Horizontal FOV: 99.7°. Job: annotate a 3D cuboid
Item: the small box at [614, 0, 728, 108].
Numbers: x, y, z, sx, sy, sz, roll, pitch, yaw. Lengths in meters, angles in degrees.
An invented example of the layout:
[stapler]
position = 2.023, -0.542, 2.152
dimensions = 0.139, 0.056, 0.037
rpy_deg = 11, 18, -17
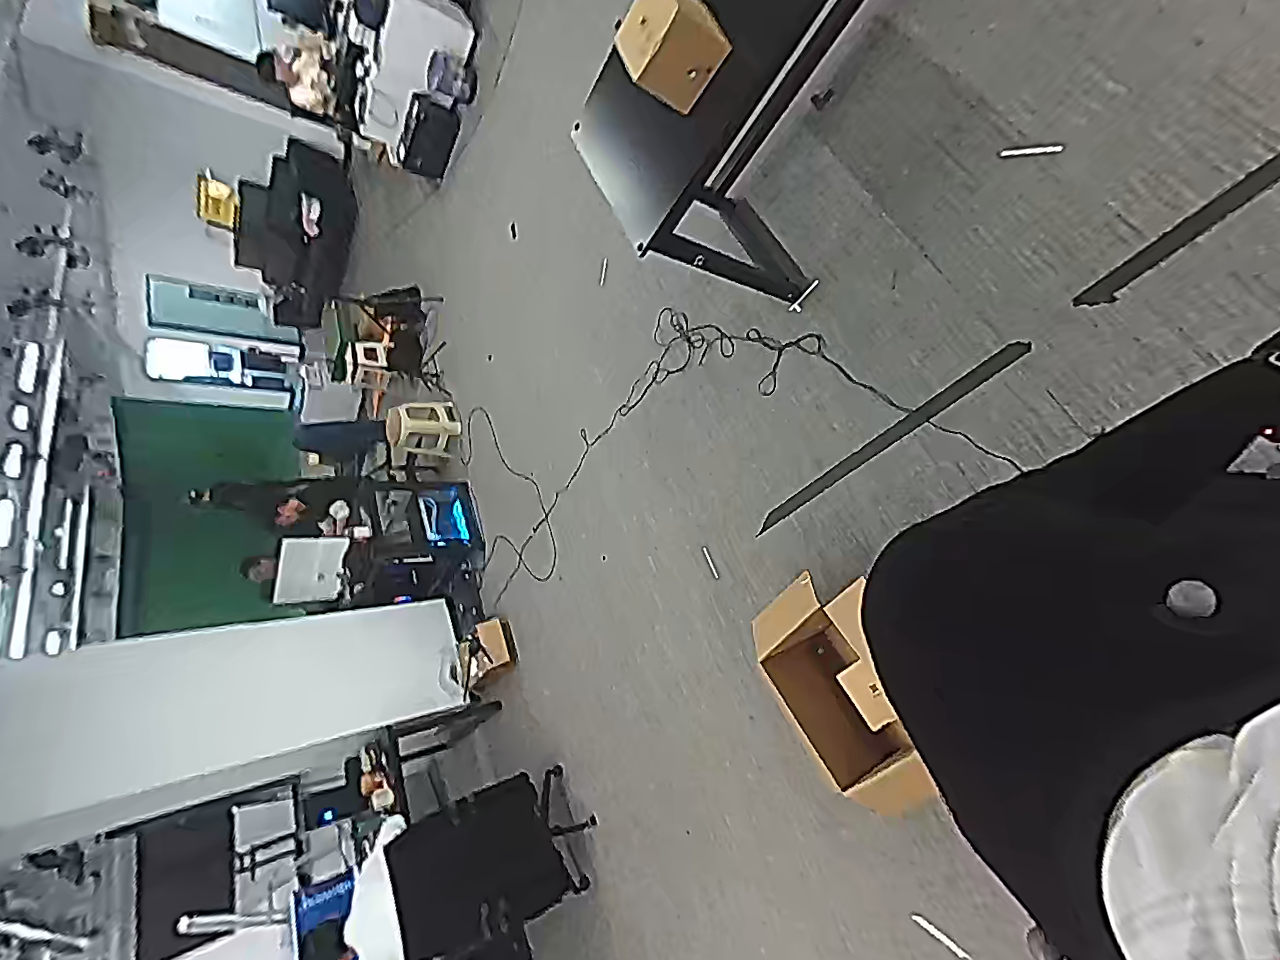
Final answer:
[small box]
position = 0.072, -1.013, 1.252
dimensions = 0.168, 0.176, 0.179
rpy_deg = -40, 61, 43
